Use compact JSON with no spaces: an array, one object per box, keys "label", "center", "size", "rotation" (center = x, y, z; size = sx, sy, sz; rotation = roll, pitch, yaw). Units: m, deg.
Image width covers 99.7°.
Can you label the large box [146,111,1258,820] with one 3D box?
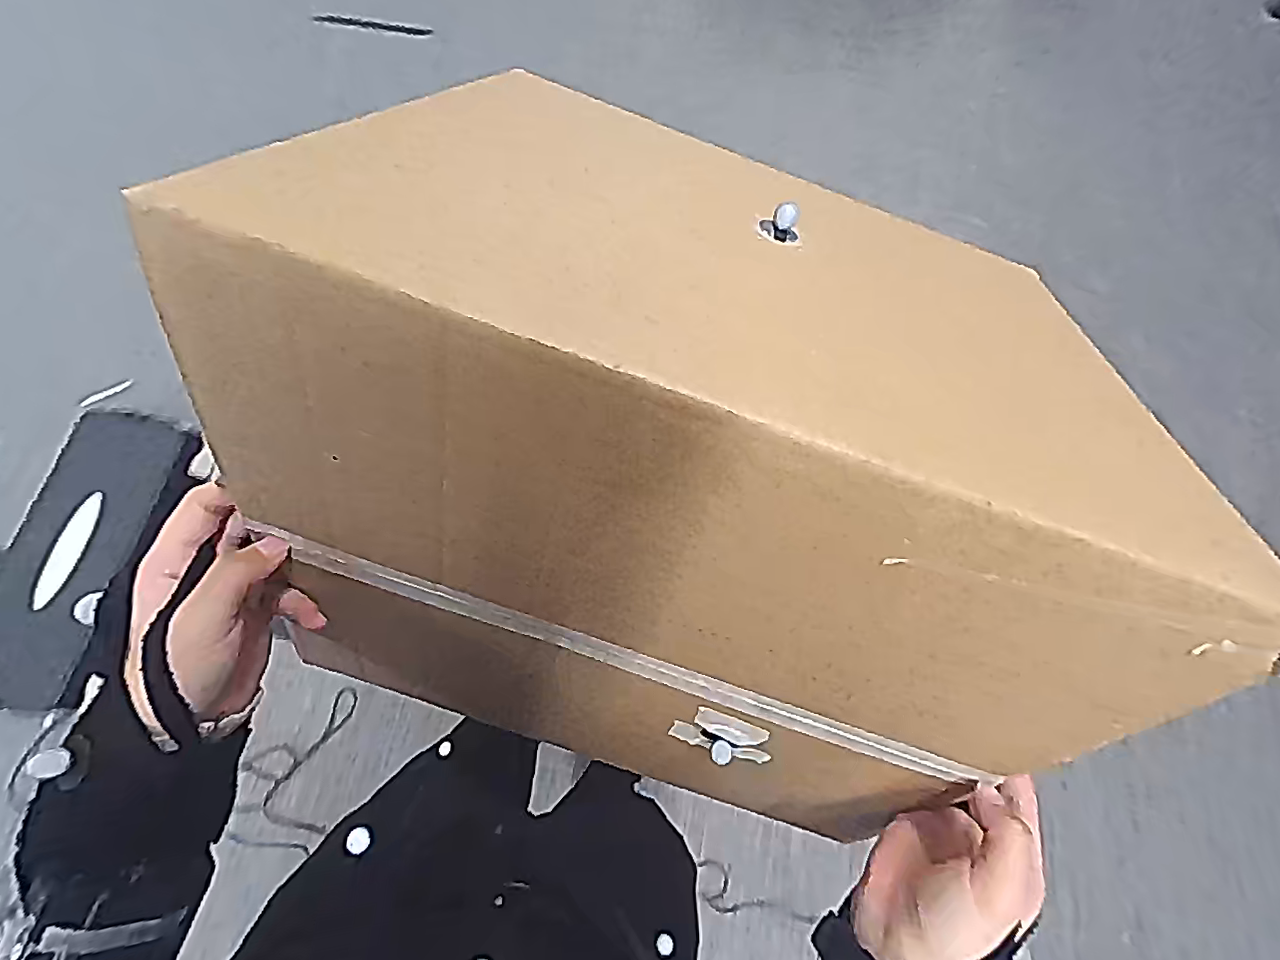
[{"label":"large box","center":[0.016,-0.013,0.391],"size":[0.408,0.320,0.320],"rotation":[17,45,-2]}]
